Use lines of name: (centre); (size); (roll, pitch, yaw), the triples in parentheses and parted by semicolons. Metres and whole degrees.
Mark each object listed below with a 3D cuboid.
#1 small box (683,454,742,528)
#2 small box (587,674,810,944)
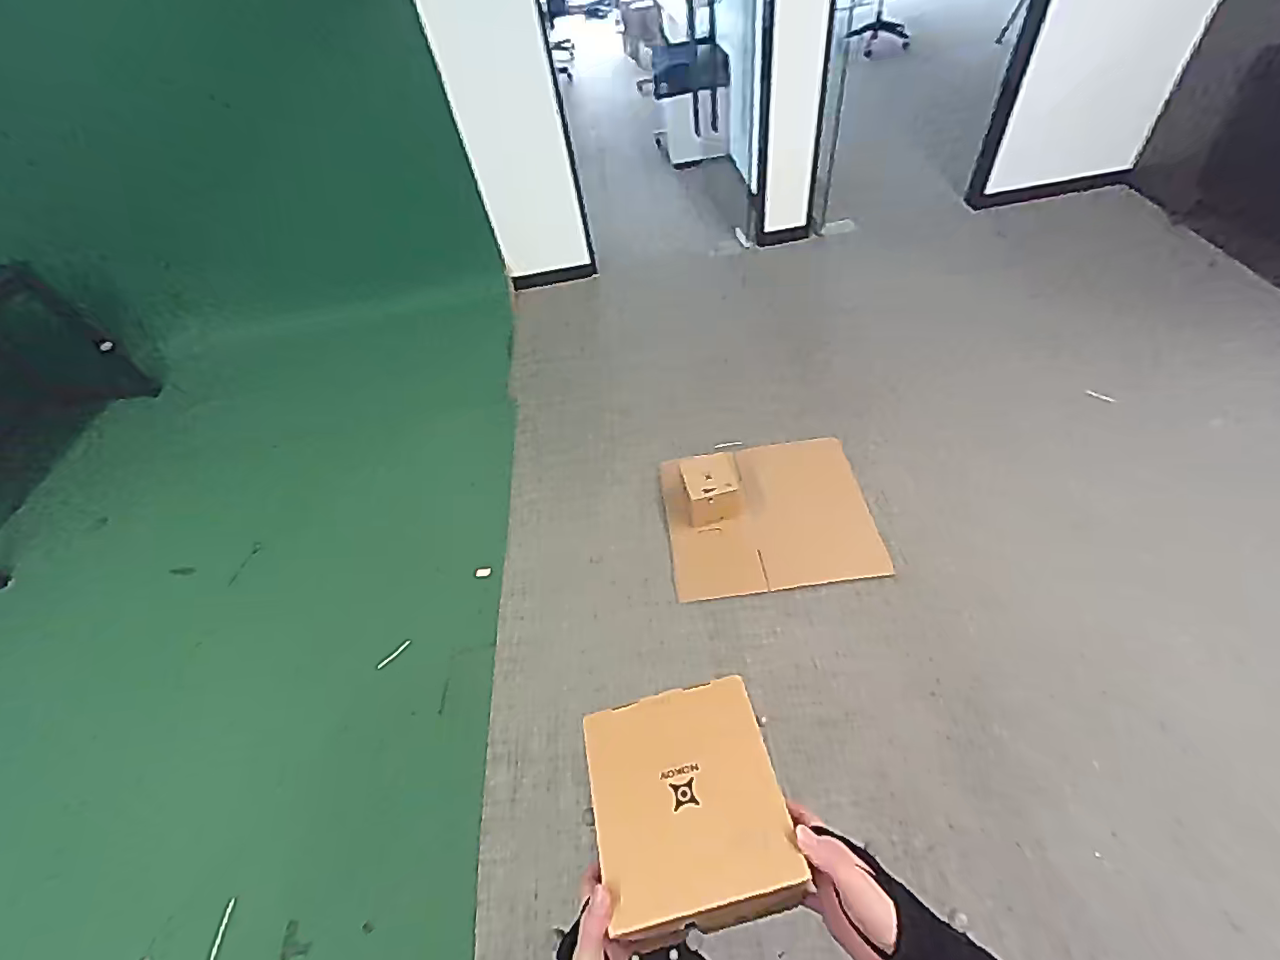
small box: (0.250, 0.040, 1.886); (0.168, 0.176, 0.179); (-14, 50, -2)
small box: (0.054, 0.326, 0.531); (0.168, 0.176, 0.179); (-14, 44, -1)
